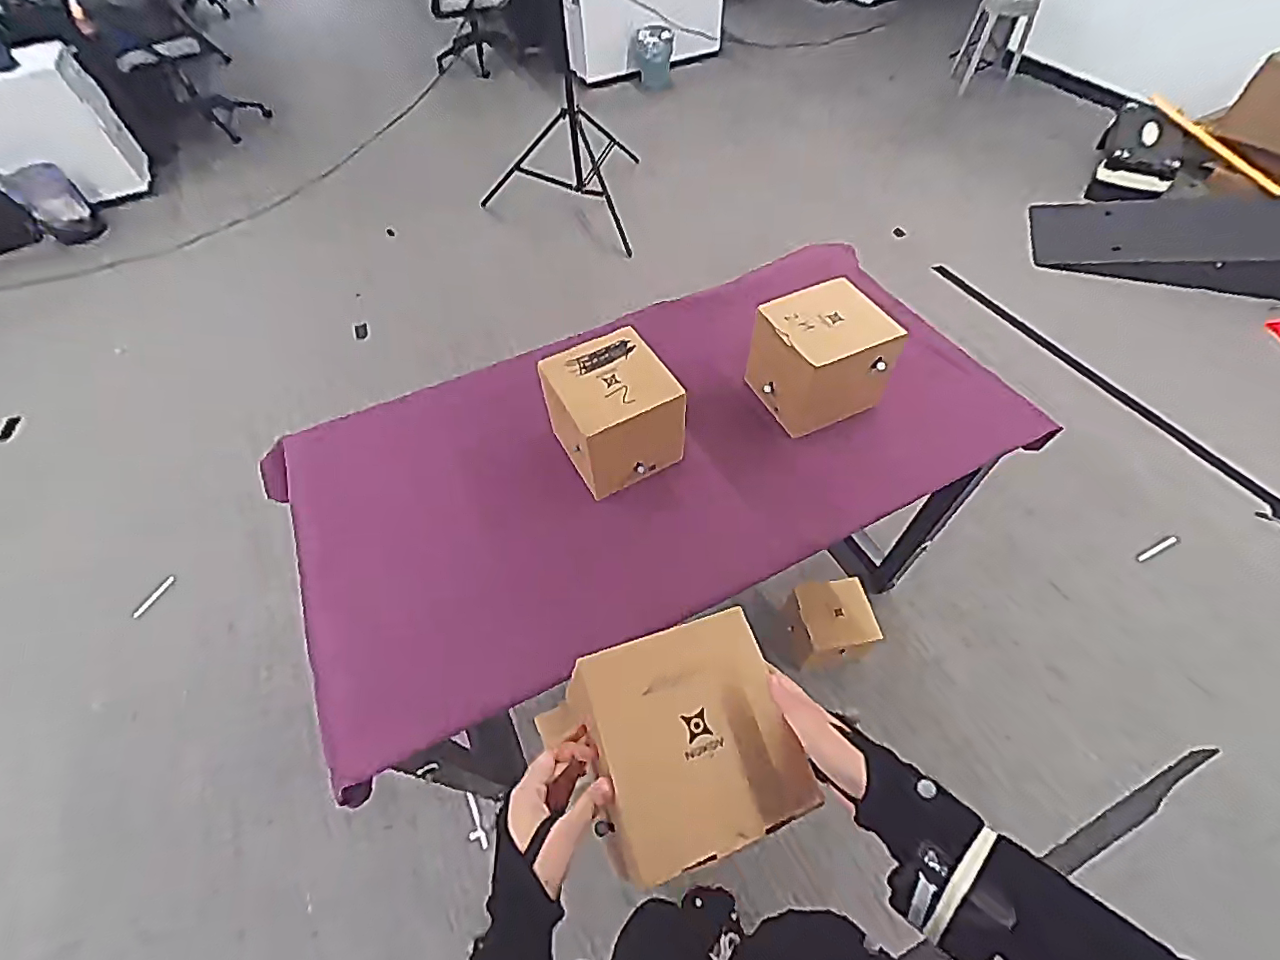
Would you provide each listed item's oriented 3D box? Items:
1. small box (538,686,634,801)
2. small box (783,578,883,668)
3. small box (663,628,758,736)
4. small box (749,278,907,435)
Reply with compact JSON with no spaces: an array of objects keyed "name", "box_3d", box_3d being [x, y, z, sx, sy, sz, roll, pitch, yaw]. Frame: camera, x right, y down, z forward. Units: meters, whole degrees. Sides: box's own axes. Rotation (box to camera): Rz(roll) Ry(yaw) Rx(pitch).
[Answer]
[{"name":"small box","box_3d":[-0.123,0.617,1.261,0.168,0.176,0.179,-22,56,-12]},{"name":"small box","box_3d":[0.490,0.374,1.399,0.179,0.176,0.168,-10,56,-3]},{"name":"small box","box_3d":[0.164,0.499,1.327,0.168,0.176,0.179,-24,58,-13]},{"name":"small box","box_3d":[0.305,-0.207,0.921,0.179,0.176,0.168,-22,56,-11]}]
